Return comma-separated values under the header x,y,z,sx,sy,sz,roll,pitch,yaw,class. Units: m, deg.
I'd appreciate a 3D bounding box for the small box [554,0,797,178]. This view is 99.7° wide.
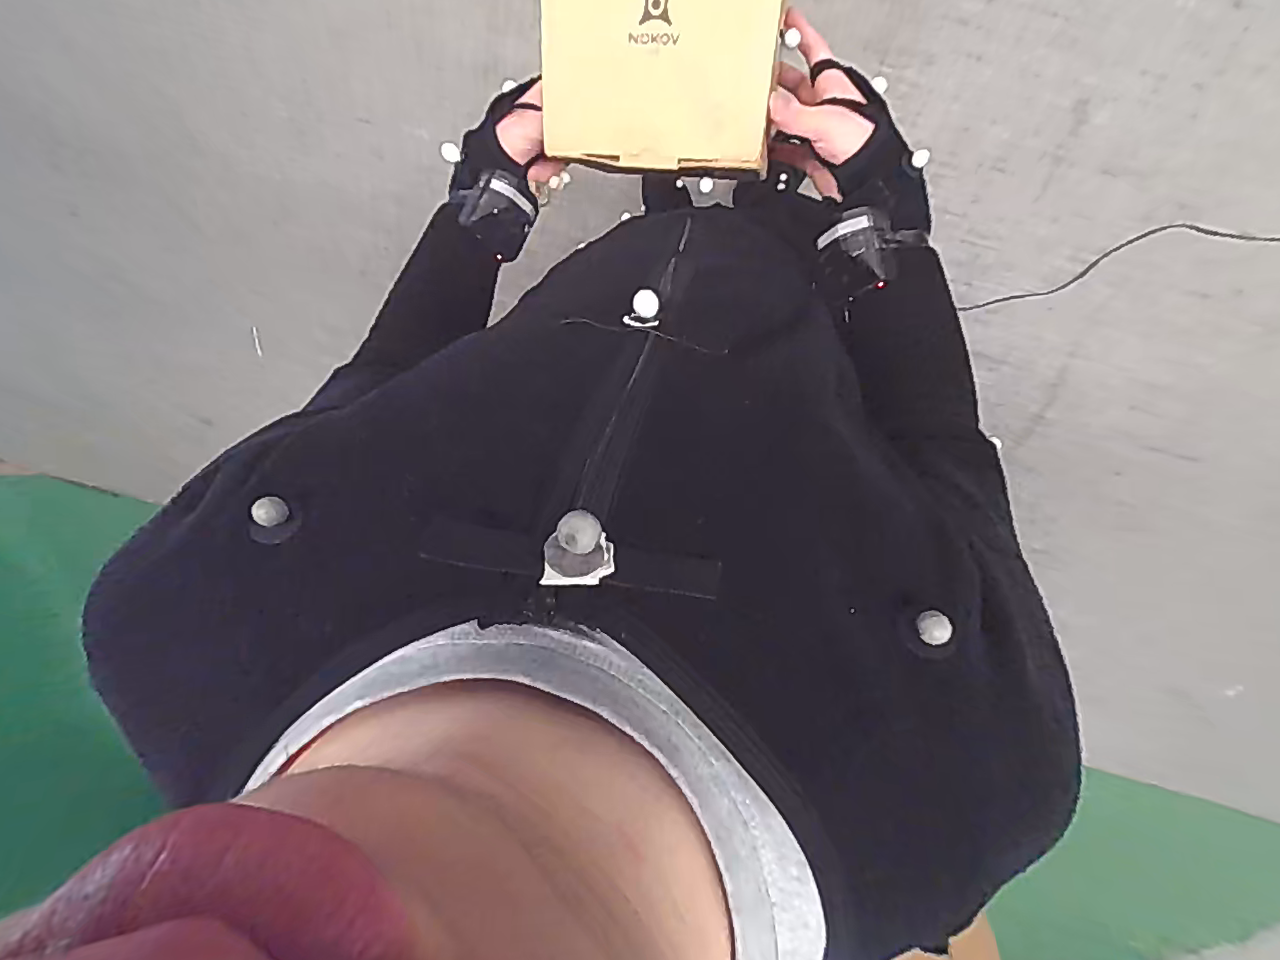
x,y,z,sx,sy,sz,roll,pitch,yaw,class
0.036,-0.351,0.438,0.168,0.176,0.179,8,116,9,small box
